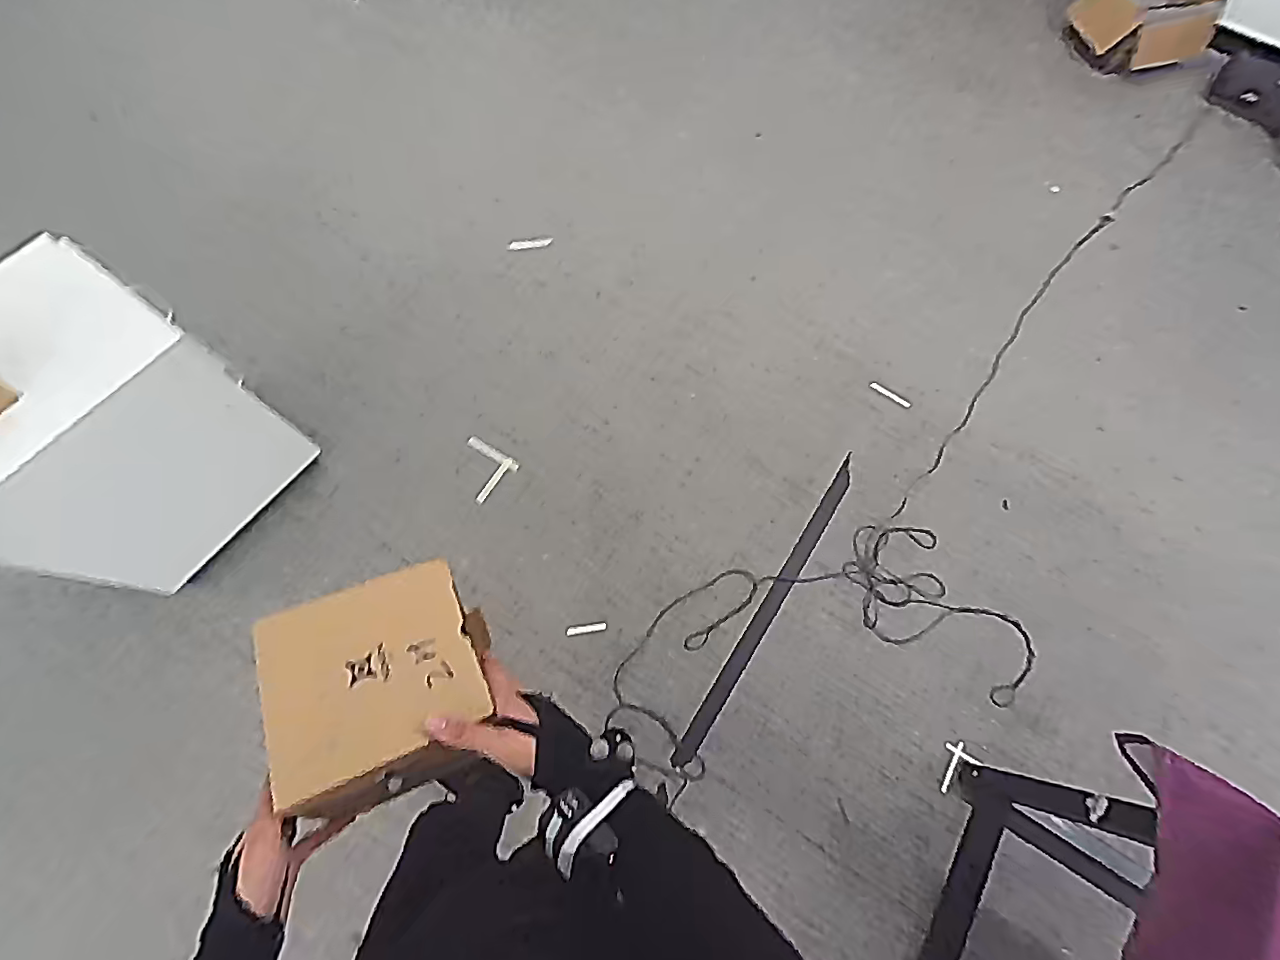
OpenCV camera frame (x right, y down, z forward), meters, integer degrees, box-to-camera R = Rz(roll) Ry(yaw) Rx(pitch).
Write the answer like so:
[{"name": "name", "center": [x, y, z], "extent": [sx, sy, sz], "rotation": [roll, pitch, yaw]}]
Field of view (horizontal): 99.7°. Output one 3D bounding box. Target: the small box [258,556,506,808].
[{"name": "small box", "center": [-0.248, 0.209, 0.550], "extent": [0.179, 0.176, 0.168], "rotation": [-18, 61, -21]}]

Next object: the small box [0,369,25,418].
[{"name": "small box", "center": [-1.207, -0.160, 0.884], "extent": [0.168, 0.176, 0.179], "rotation": [34, 71, 8]}]
